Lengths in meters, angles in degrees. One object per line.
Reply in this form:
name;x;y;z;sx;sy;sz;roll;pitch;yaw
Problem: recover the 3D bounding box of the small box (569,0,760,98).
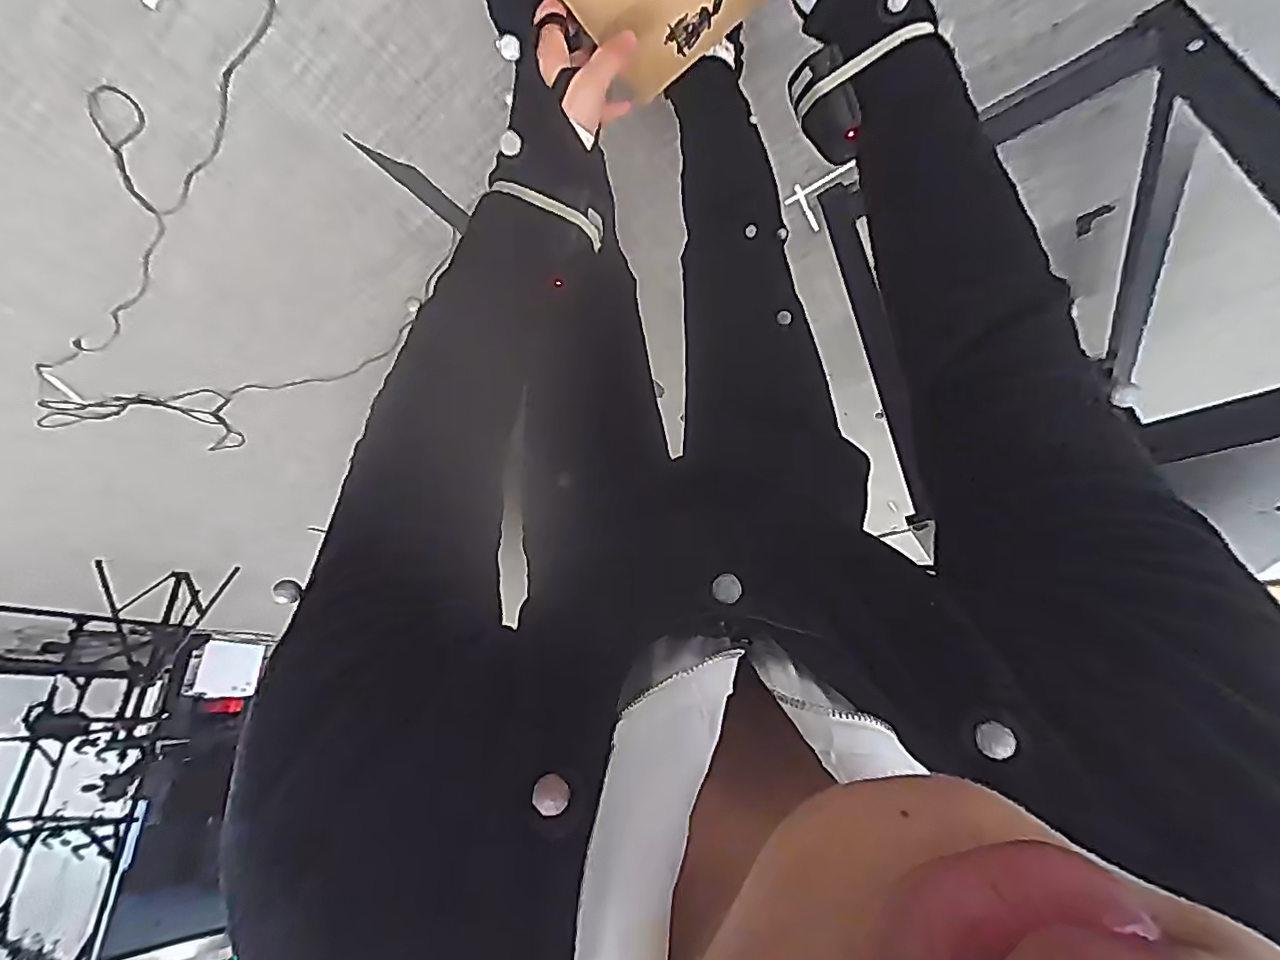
small box;0.009;-0.455;0.402;0.168;0.176;0.179;-22;149;32
